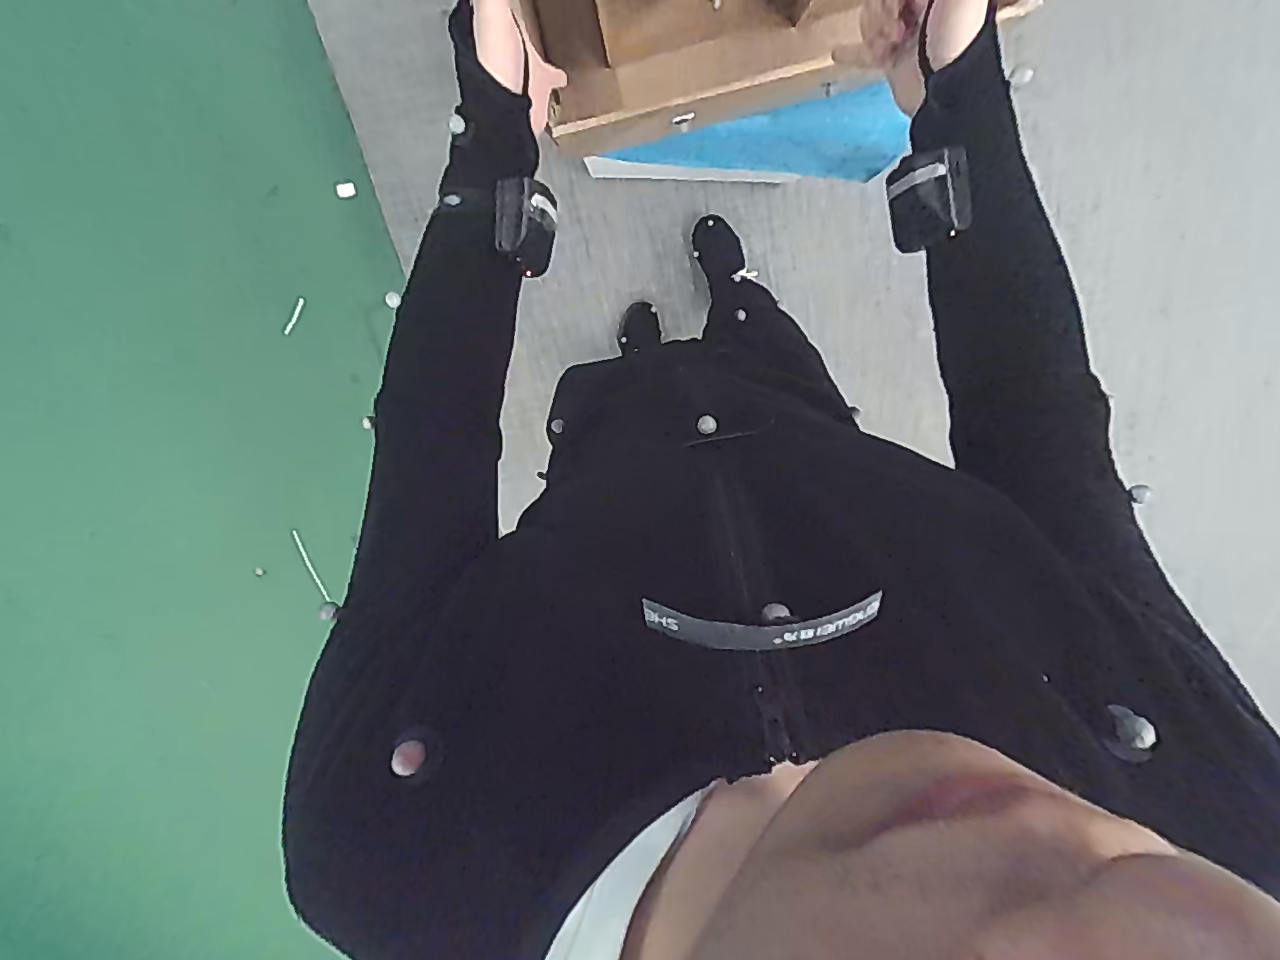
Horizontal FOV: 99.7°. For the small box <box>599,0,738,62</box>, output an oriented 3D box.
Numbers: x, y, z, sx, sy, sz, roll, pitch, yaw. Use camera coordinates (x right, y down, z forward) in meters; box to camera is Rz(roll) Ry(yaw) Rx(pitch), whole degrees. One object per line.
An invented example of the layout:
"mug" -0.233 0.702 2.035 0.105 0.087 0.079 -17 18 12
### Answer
"small box" 0.026 -0.647 0.653 0.179 0.176 0.168 -13 109 4
